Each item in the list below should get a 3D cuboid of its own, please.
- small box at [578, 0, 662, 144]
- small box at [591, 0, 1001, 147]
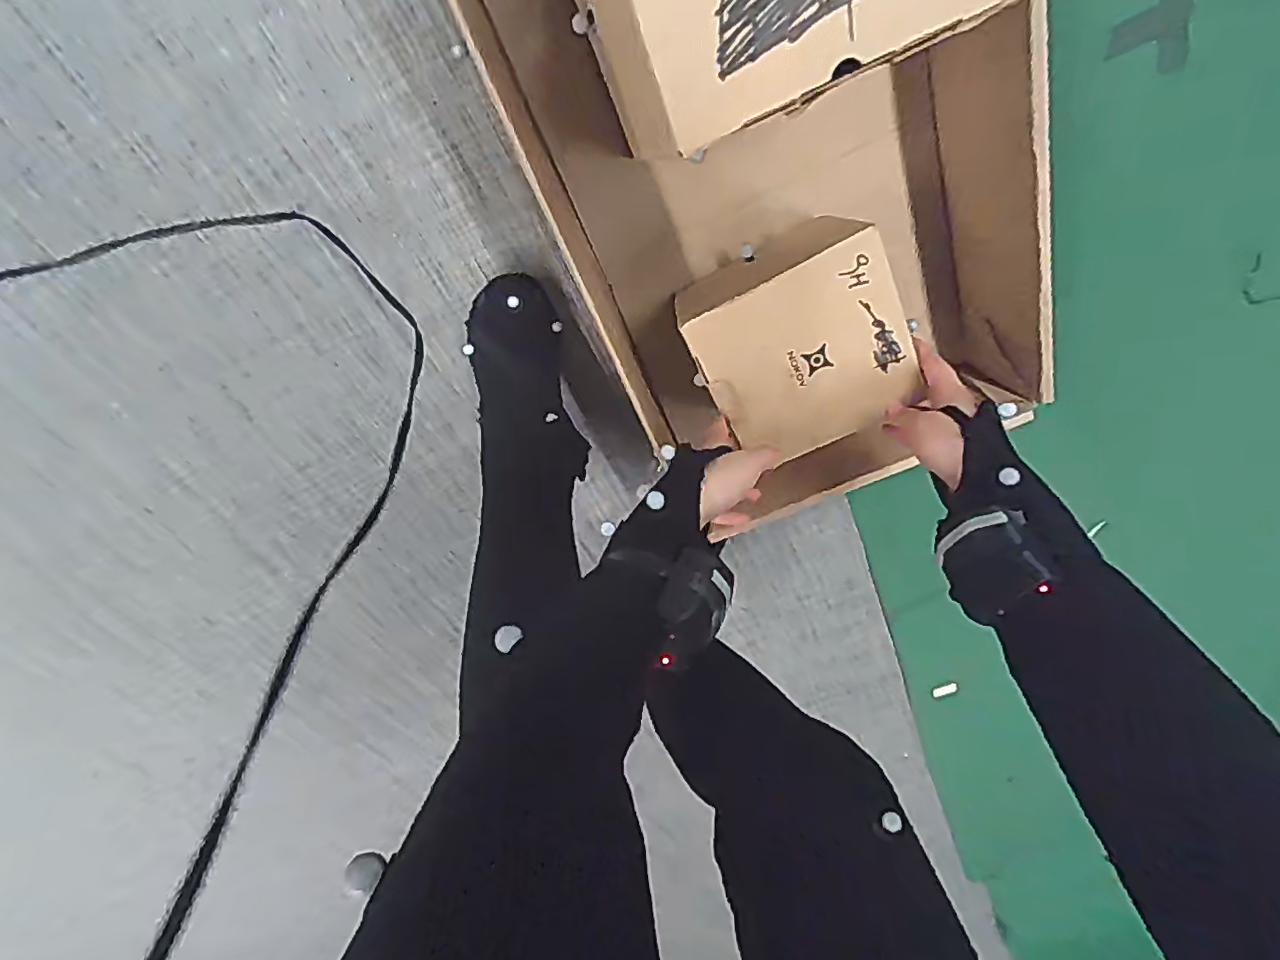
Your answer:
[{"bbox_3d":[0.041,-0.379,0.407,0.168,0.176,0.179,-22,122,8],"label":"small box"},{"bbox_3d":[0.053,-0.293,0.268,0.168,0.176,0.179,-22,120,7],"label":"small box"}]
